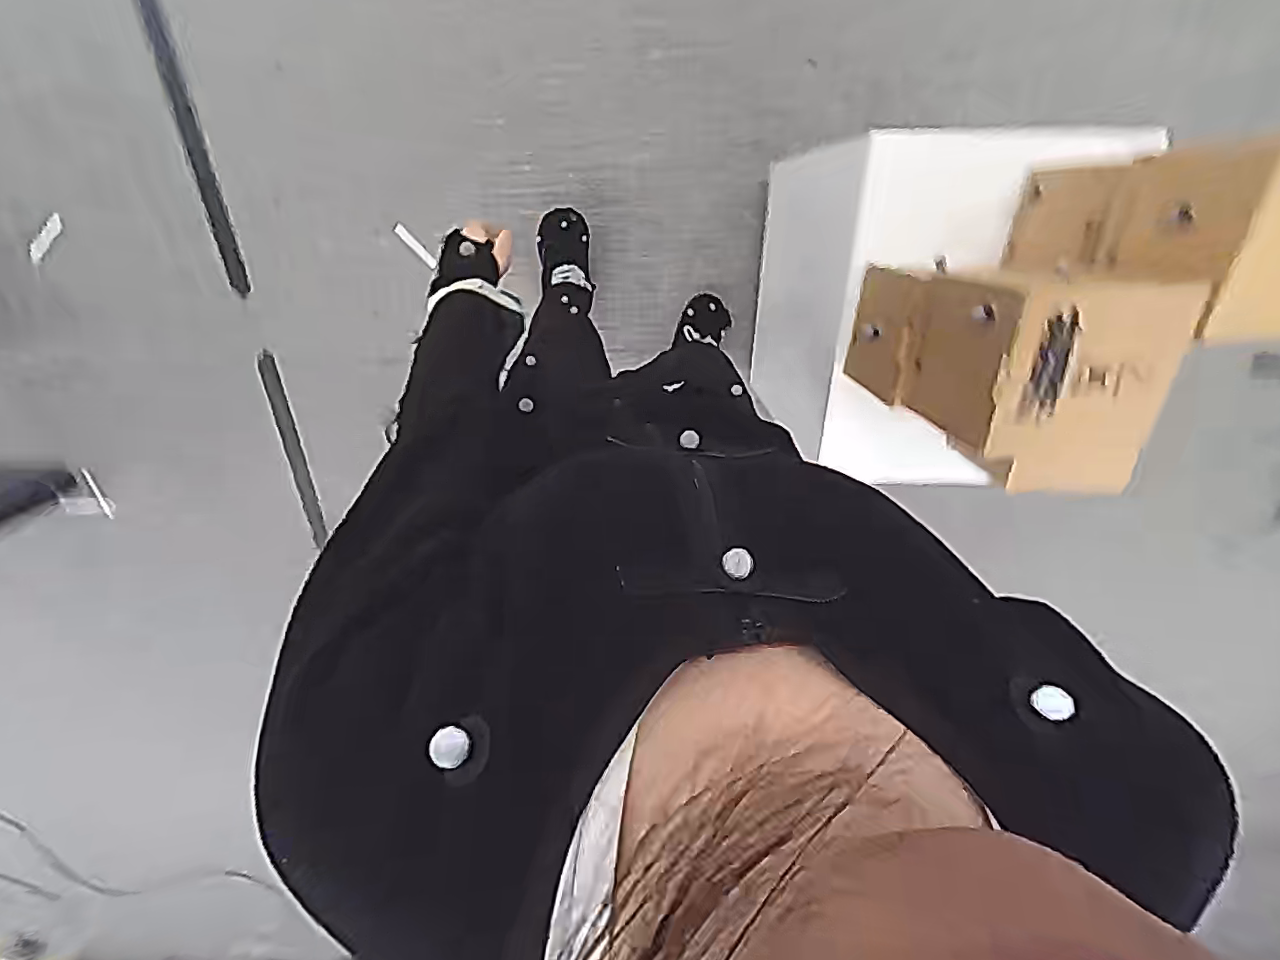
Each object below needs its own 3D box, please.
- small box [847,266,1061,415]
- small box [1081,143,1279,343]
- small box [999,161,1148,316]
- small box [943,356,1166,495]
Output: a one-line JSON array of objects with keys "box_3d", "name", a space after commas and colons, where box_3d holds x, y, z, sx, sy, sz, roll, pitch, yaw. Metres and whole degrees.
[{"box_3d": [0.411, -0.198, 0.747, 0.179, 0.176, 0.168, 2, 117, -3], "name": "small box"}, {"box_3d": [0.610, -0.239, 0.548, 0.179, 0.176, 0.168, -1, 118, -1], "name": "small box"}, {"box_3d": [0.608, -0.306, 0.696, 0.179, 0.176, 0.168, 1, 117, -2], "name": "small box"}, {"box_3d": [0.598, -0.088, 0.808, 0.179, 0.176, 0.168, 0, 115, 0], "name": "small box"}]
